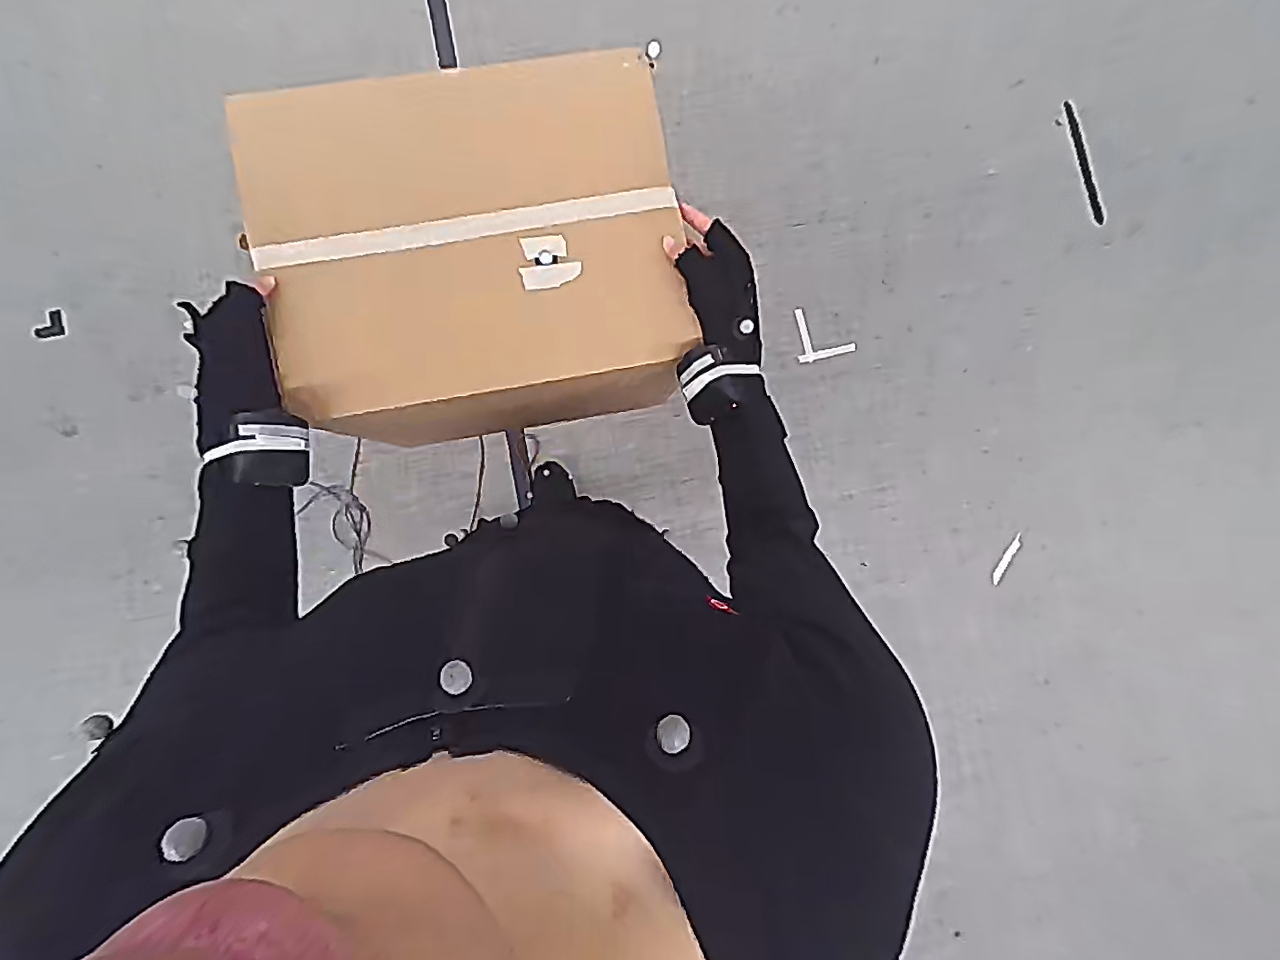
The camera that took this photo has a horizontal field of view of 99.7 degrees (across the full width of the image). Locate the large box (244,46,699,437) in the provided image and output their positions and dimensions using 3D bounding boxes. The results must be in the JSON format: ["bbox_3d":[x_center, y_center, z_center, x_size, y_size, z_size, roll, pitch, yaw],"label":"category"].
[{"bbox_3d":[-0.174,-0.253,0.685,0.408,0.320,0.320,-11,91,-5],"label":"large box"}]
